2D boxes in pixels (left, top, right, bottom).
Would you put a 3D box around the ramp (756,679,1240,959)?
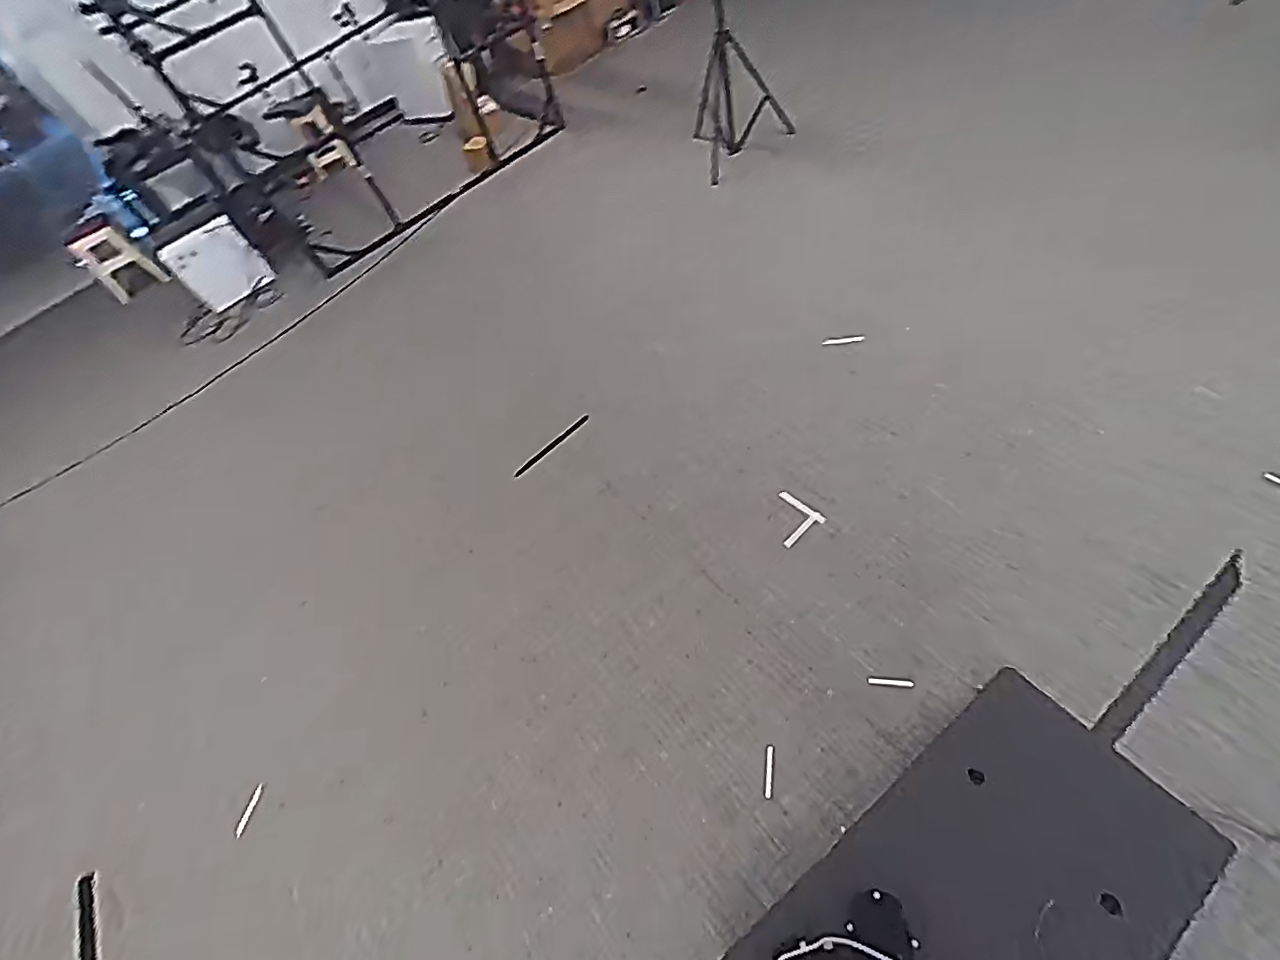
[{"bbox_3d":[0.696,0.883,1.079,0.991,0.206,0.509,-41,52,-14],"label":"ramp"}]
